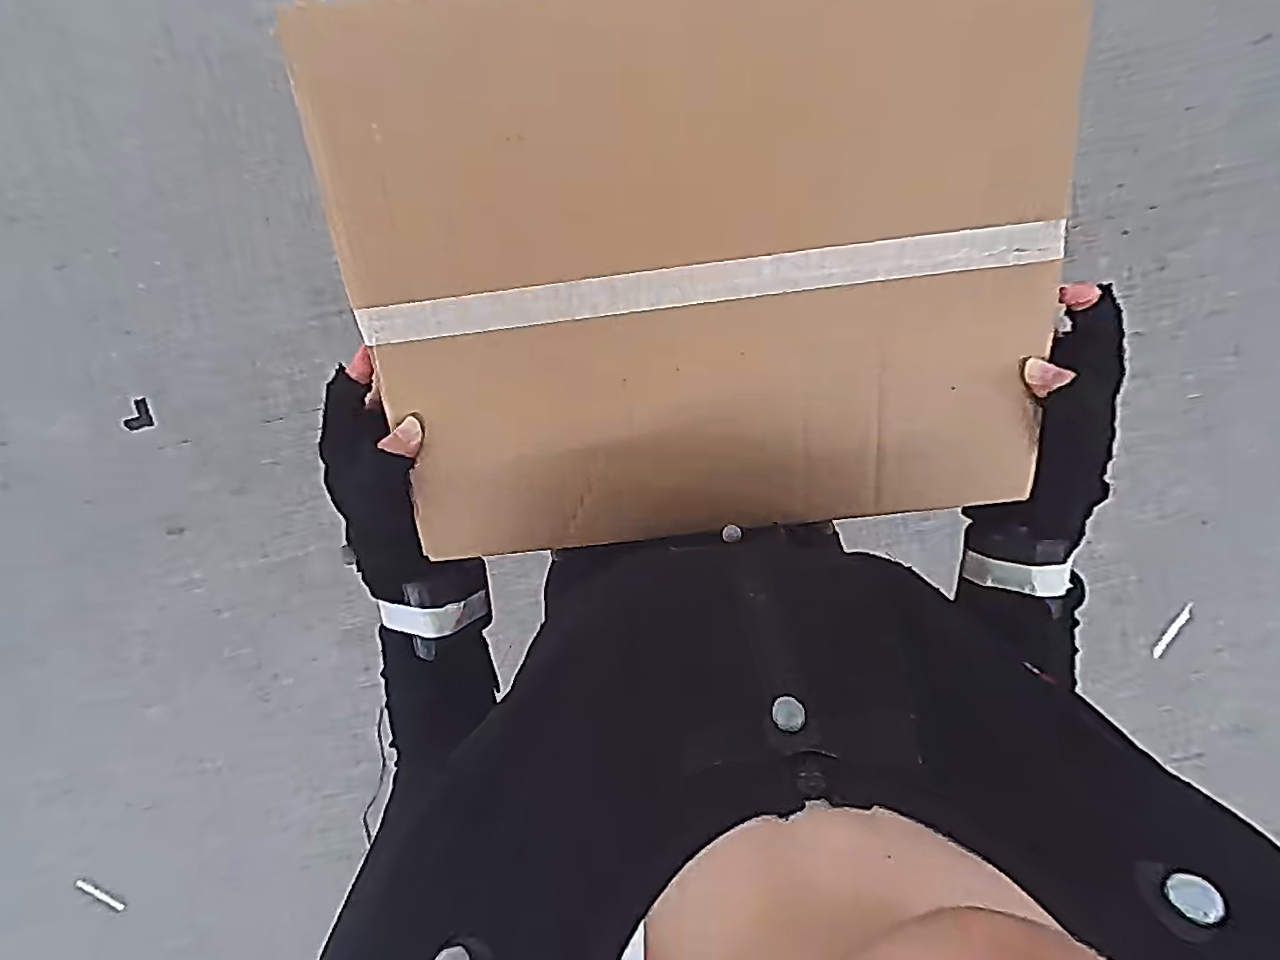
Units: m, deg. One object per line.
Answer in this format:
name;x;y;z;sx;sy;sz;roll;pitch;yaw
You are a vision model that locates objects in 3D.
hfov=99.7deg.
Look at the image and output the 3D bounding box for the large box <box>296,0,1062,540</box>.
large box;0.031;-0.172;0.461;0.408;0.320;0.320;-6;110;2
